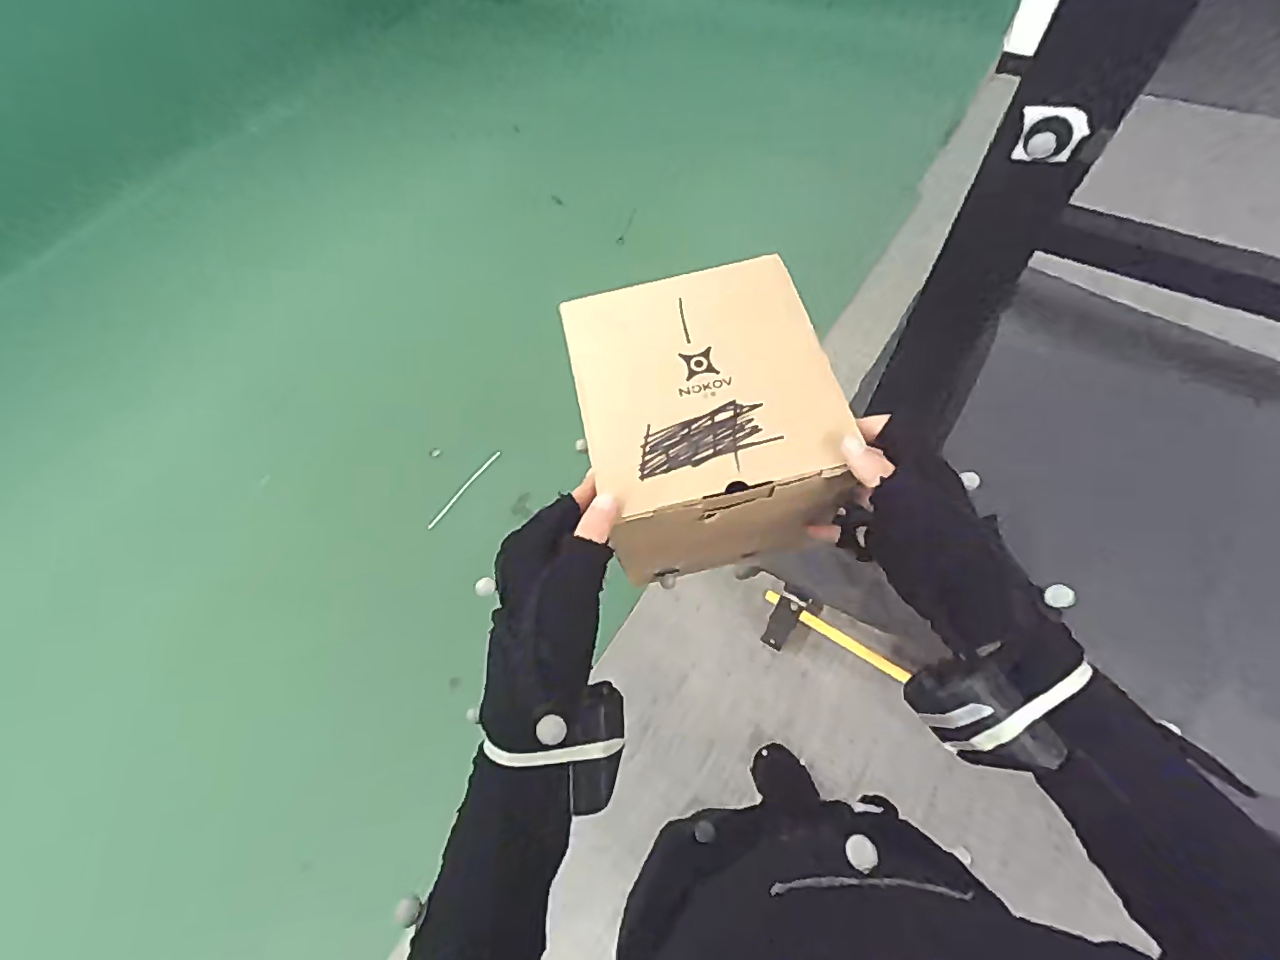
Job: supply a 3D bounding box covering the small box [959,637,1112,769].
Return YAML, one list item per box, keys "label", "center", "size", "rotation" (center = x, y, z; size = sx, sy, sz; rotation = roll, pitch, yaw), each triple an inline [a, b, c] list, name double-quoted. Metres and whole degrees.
- label: "small box"
  center: [0.782, 0.446, 1.088]
  size: [0.168, 0.176, 0.179]
  rotation: [32, 73, 20]
